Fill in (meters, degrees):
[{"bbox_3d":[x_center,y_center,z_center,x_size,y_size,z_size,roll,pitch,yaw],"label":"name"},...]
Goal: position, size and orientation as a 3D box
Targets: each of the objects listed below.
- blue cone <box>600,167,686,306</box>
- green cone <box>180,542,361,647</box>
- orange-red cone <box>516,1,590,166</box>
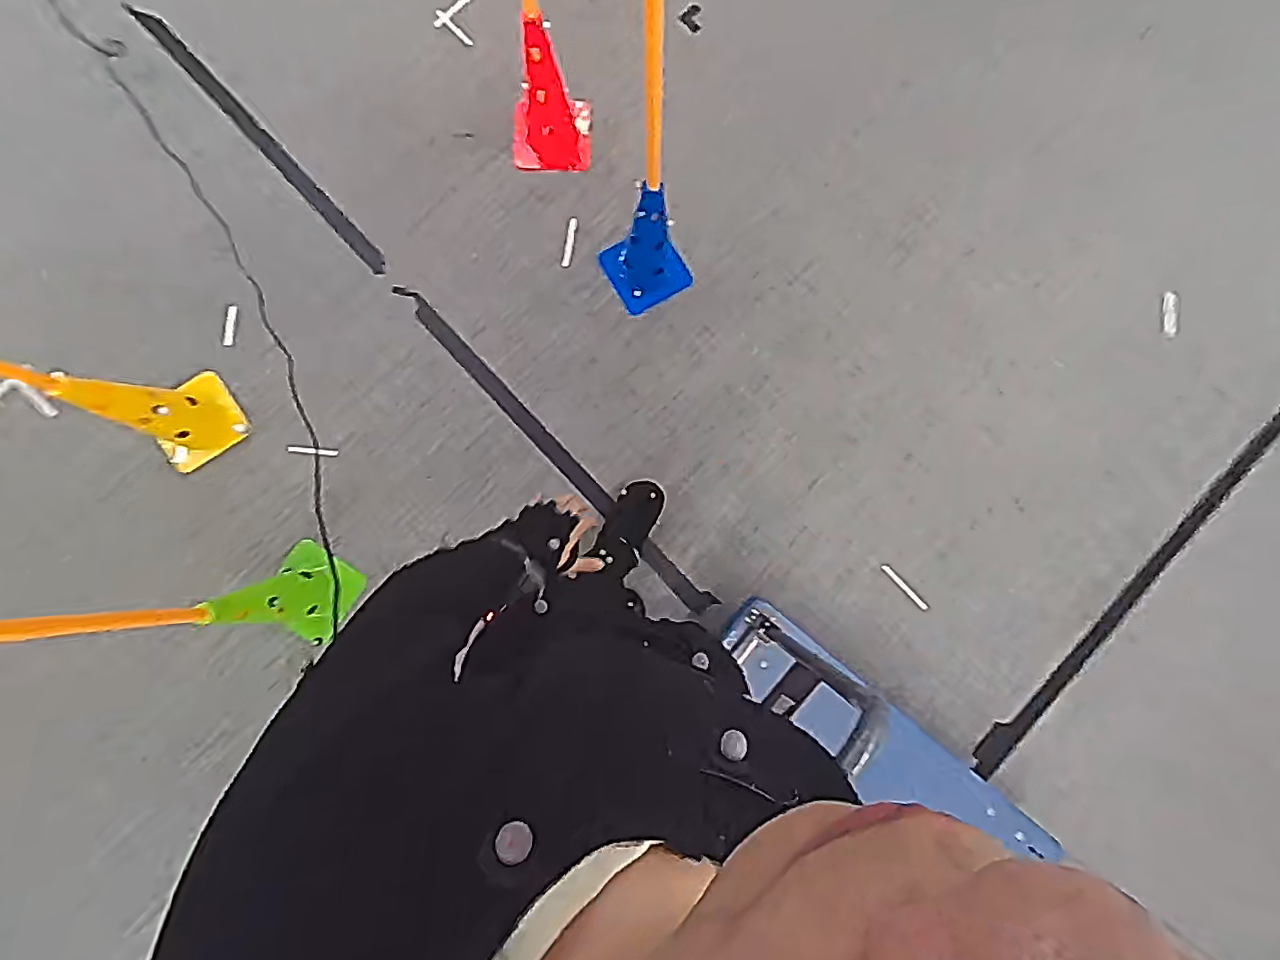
[{"bbox_3d":[0.015,-0.587,1.275,0.193,0.380,0.192,-29,85,-4],"label":"blue cone"},{"bbox_3d":[-0.802,0.256,1.143,0.202,0.368,0.200,32,84,3],"label":"green cone"},{"bbox_3d":[-0.231,-0.956,1.290,0.198,0.360,0.199,1,85,-1],"label":"orange-red cone"}]
